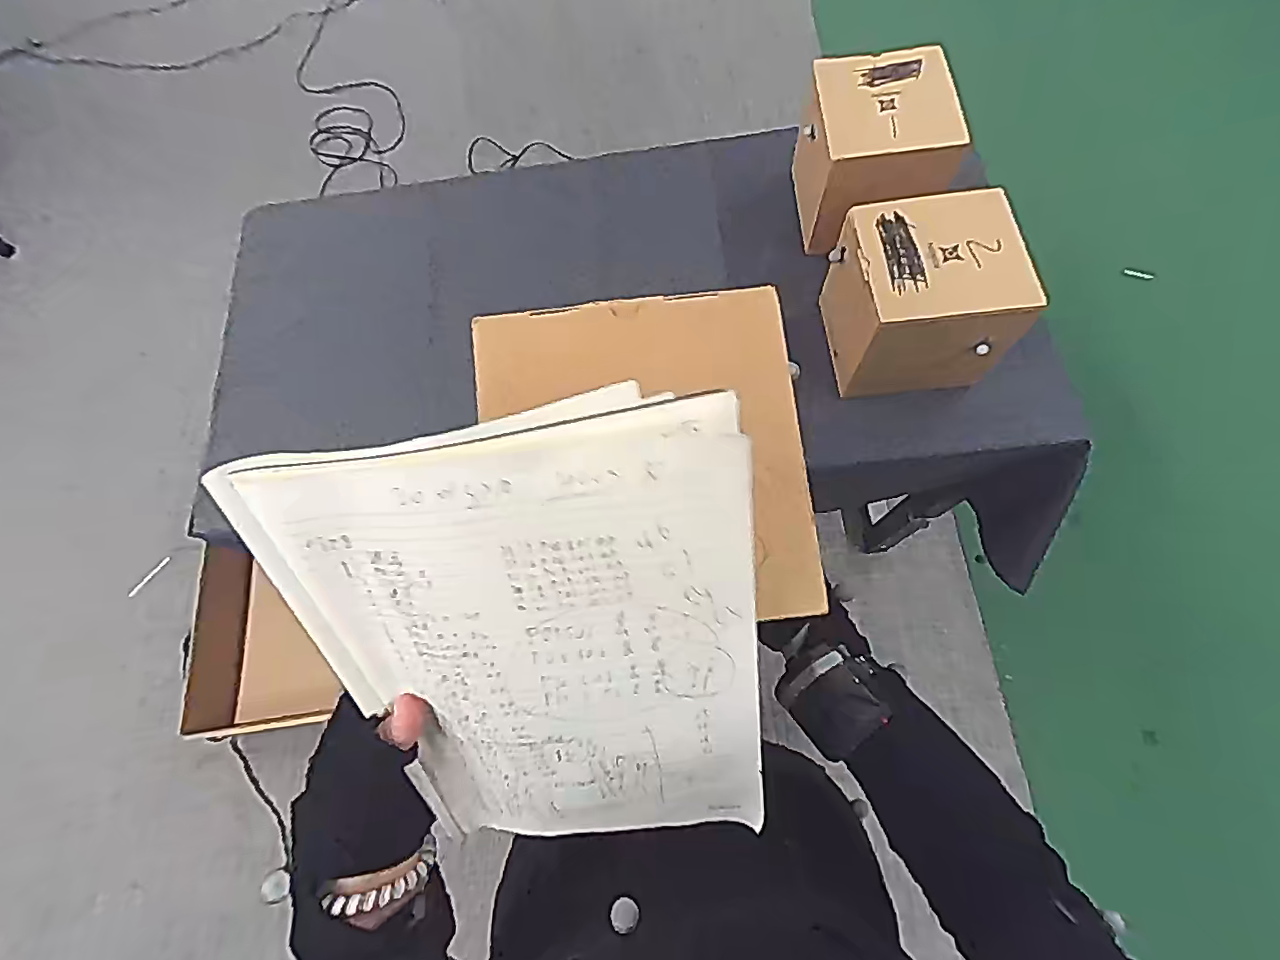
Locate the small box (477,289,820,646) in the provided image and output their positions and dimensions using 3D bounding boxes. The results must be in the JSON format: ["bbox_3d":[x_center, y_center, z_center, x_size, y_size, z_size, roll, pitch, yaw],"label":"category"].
[{"bbox_3d":[0.002,0.003,0.358,0.168,0.176,0.179,-6,79,0],"label":"small box"}]

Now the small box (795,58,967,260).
[{"bbox_3d":[0.321,-0.441,0.761,0.168,0.176,0.179,-4,71,5],"label":"small box"}]
